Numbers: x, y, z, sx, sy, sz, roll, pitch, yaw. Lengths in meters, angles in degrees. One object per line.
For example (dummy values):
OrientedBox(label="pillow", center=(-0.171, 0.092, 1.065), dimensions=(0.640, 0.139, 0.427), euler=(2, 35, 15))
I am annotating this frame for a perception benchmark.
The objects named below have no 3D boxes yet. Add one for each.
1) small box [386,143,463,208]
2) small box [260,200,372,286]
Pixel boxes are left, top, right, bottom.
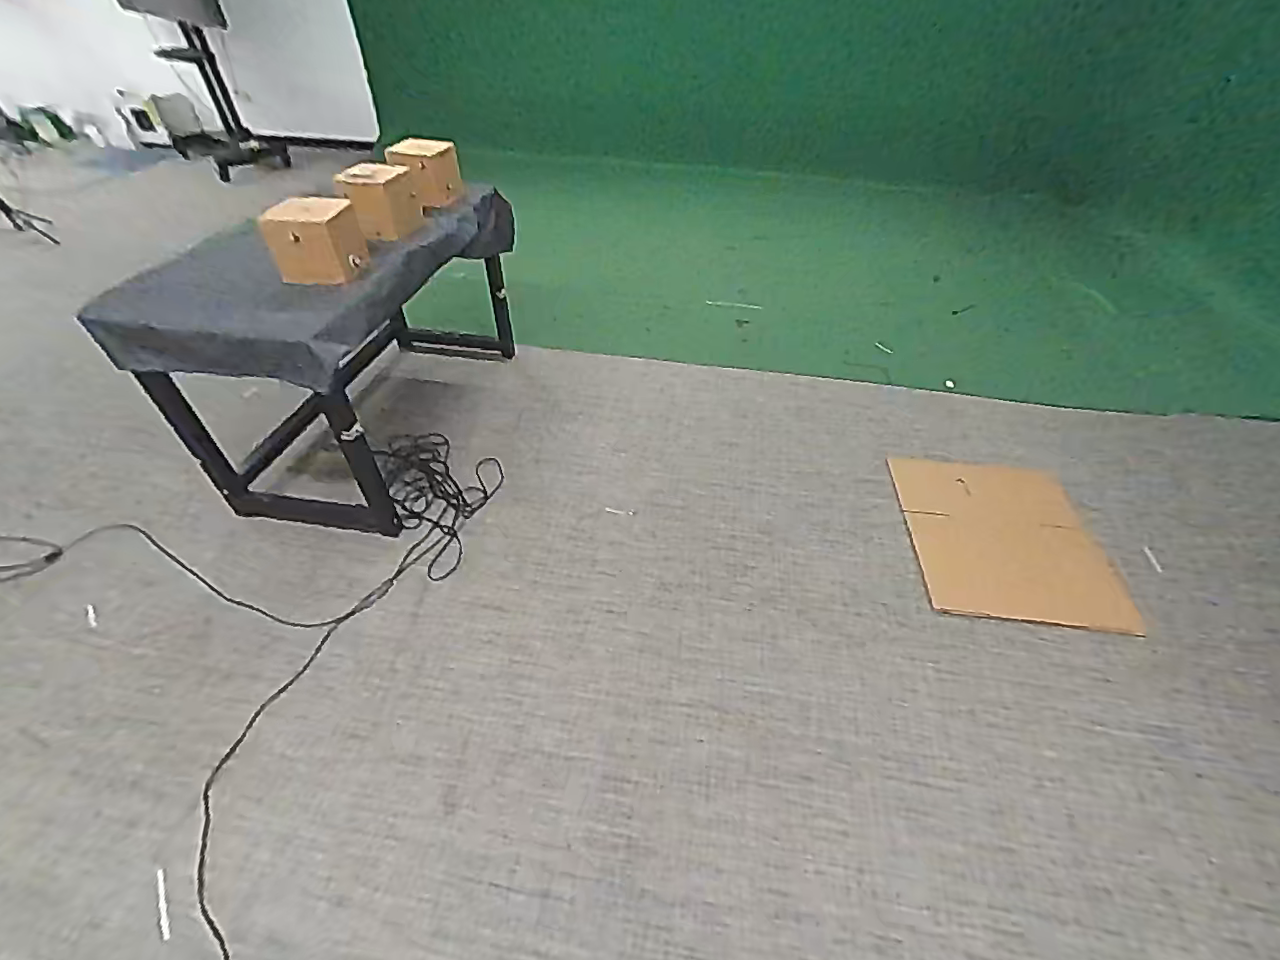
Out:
OrientedBox(label="small box", center=(-0.756, -1.080, 1.919), dimensions=(0.179, 0.176, 0.168), euler=(10, 45, 9))
OrientedBox(label="small box", center=(-0.860, -0.636, 1.455), dimensions=(0.179, 0.176, 0.168), euler=(2, 45, 0))
